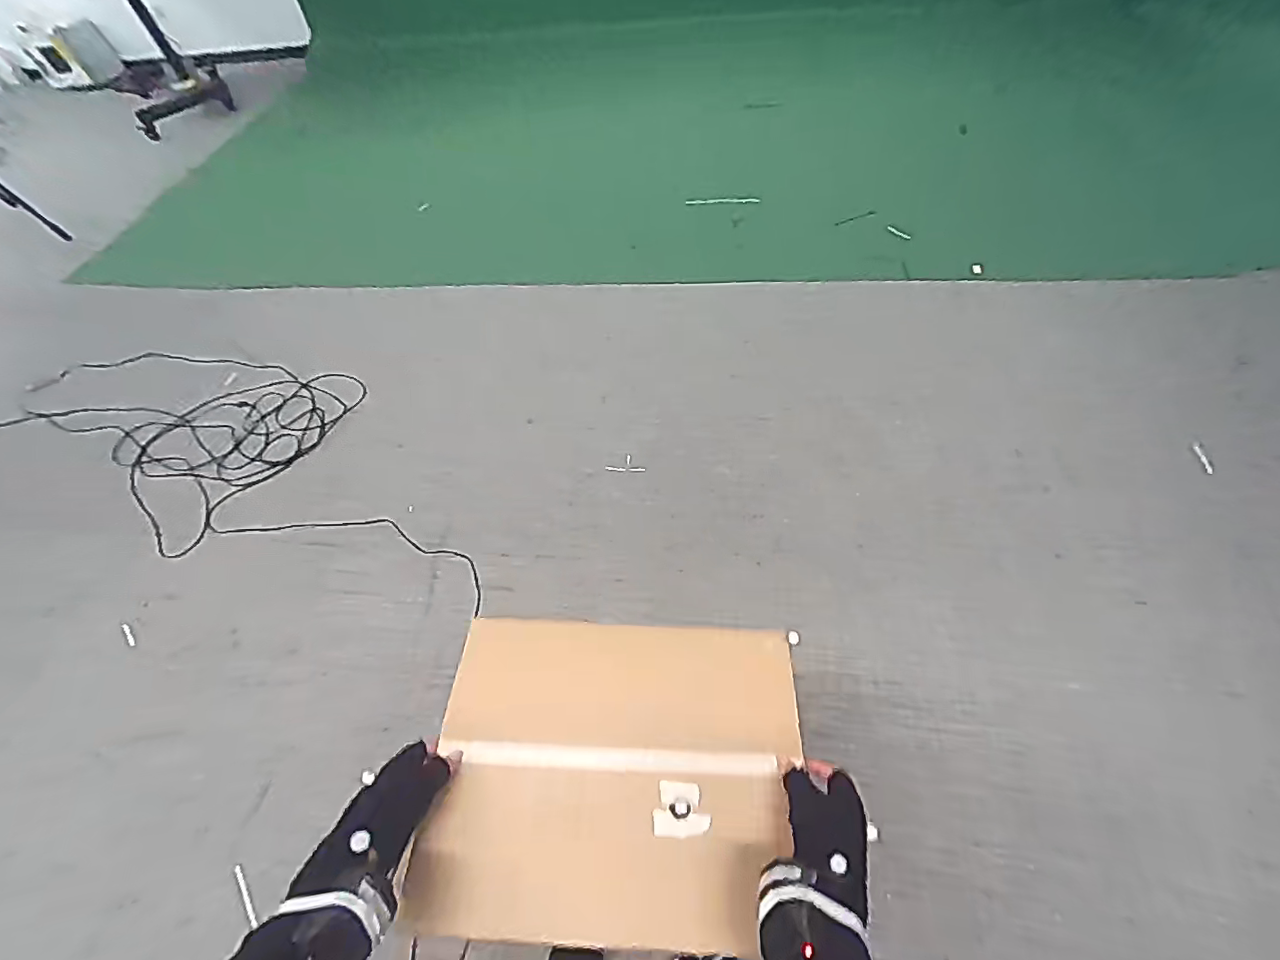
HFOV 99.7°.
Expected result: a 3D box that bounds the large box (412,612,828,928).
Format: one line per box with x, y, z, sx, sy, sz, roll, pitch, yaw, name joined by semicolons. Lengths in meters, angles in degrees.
-0.018;0.387;0.715;0.408;0.320;0.320;2;52;1;large box
